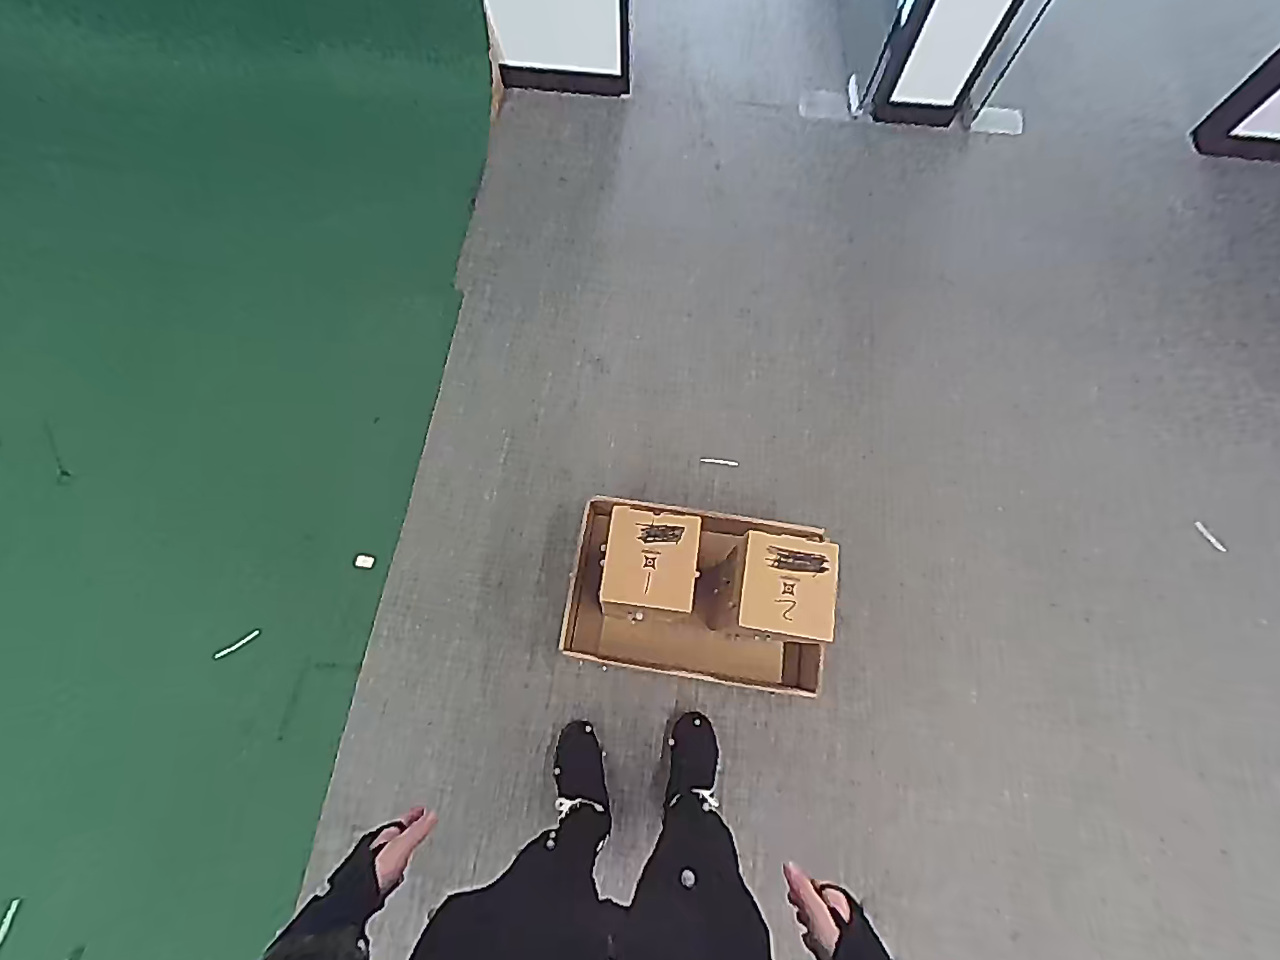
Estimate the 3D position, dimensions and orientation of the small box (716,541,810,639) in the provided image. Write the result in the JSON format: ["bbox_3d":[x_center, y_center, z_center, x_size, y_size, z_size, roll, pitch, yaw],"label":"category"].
[{"bbox_3d":[0.264,0.247,1.190,0.168,0.176,0.179,8,72,4],"label":"small box"}]

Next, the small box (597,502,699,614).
[{"bbox_3d":[0.013,0.156,1.041,0.168,0.176,0.179,8,73,1],"label":"small box"}]
